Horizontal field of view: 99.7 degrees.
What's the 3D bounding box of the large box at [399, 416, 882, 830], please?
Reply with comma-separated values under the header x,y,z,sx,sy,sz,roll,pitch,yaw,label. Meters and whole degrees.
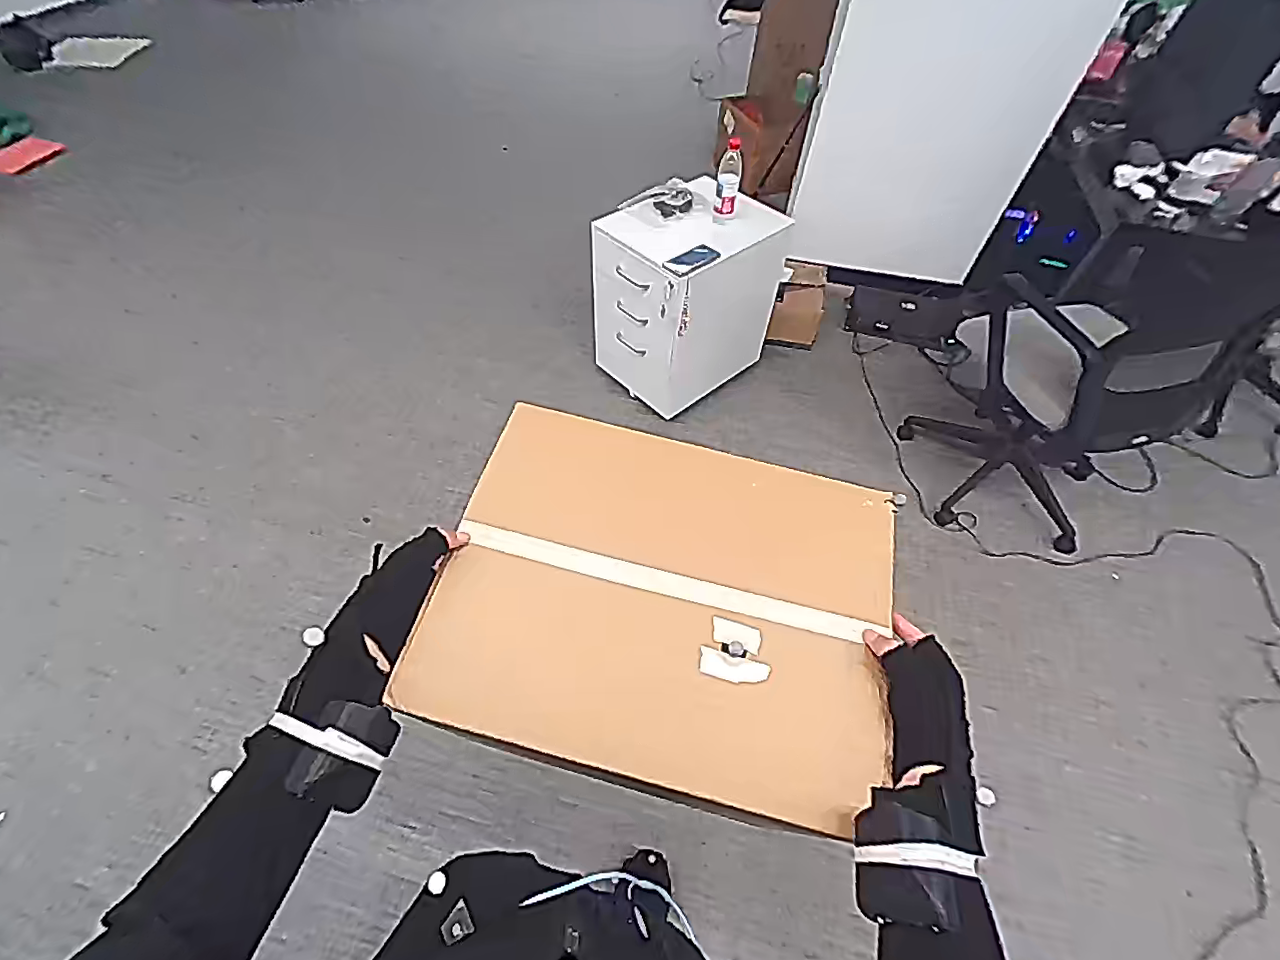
x,y,z,sx,sy,sz,roll,pitch,yaw,label
0.014,0.174,0.632,0.408,0.320,0.320,14,61,3,large box
